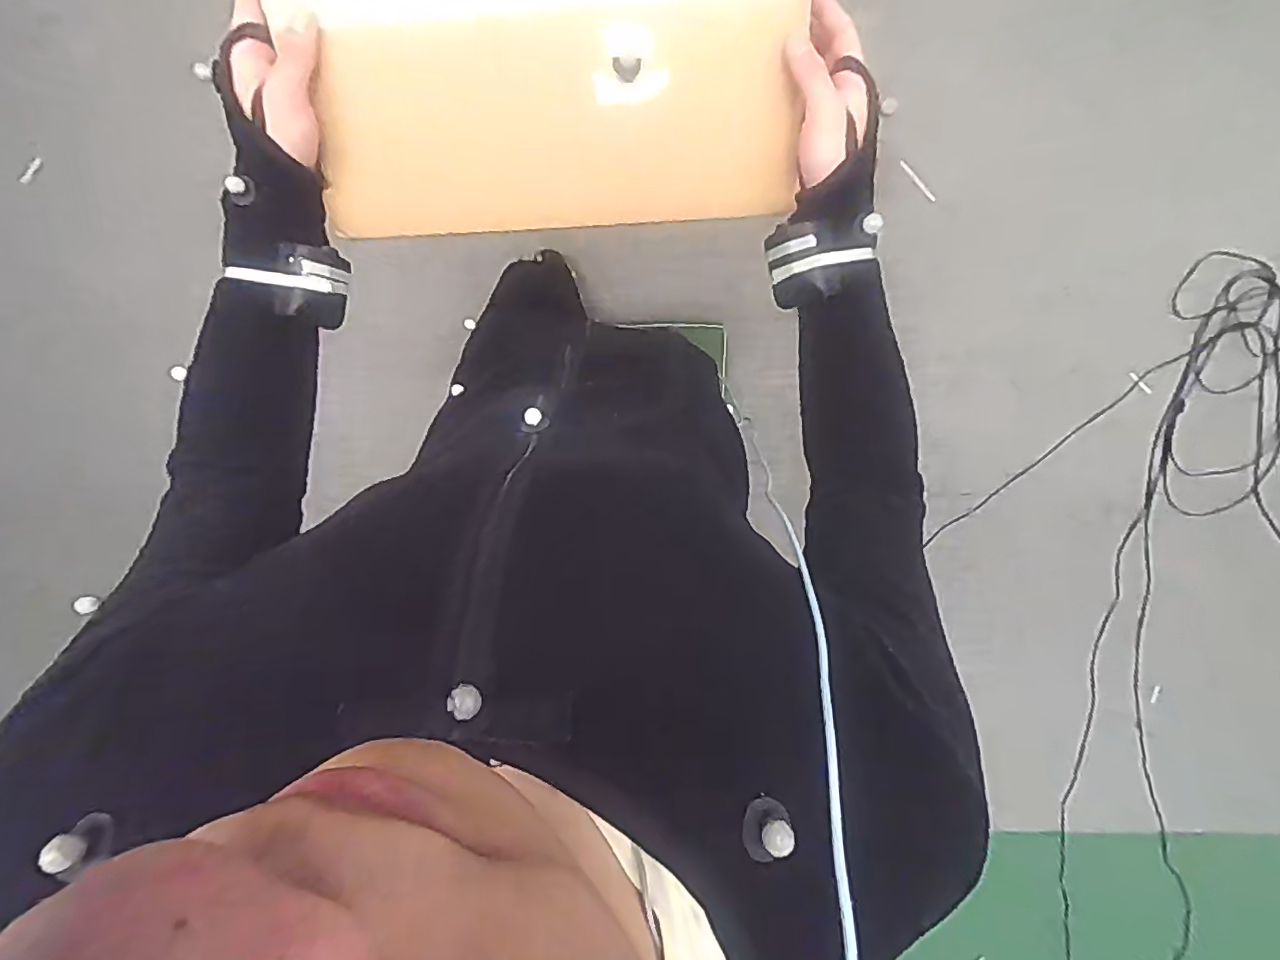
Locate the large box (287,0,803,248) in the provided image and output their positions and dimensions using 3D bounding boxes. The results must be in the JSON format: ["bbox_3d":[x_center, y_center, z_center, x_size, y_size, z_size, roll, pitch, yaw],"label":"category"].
[{"bbox_3d":[-0.075,-0.429,0.550,0.408,0.320,0.320,-3,119,1],"label":"large box"}]
